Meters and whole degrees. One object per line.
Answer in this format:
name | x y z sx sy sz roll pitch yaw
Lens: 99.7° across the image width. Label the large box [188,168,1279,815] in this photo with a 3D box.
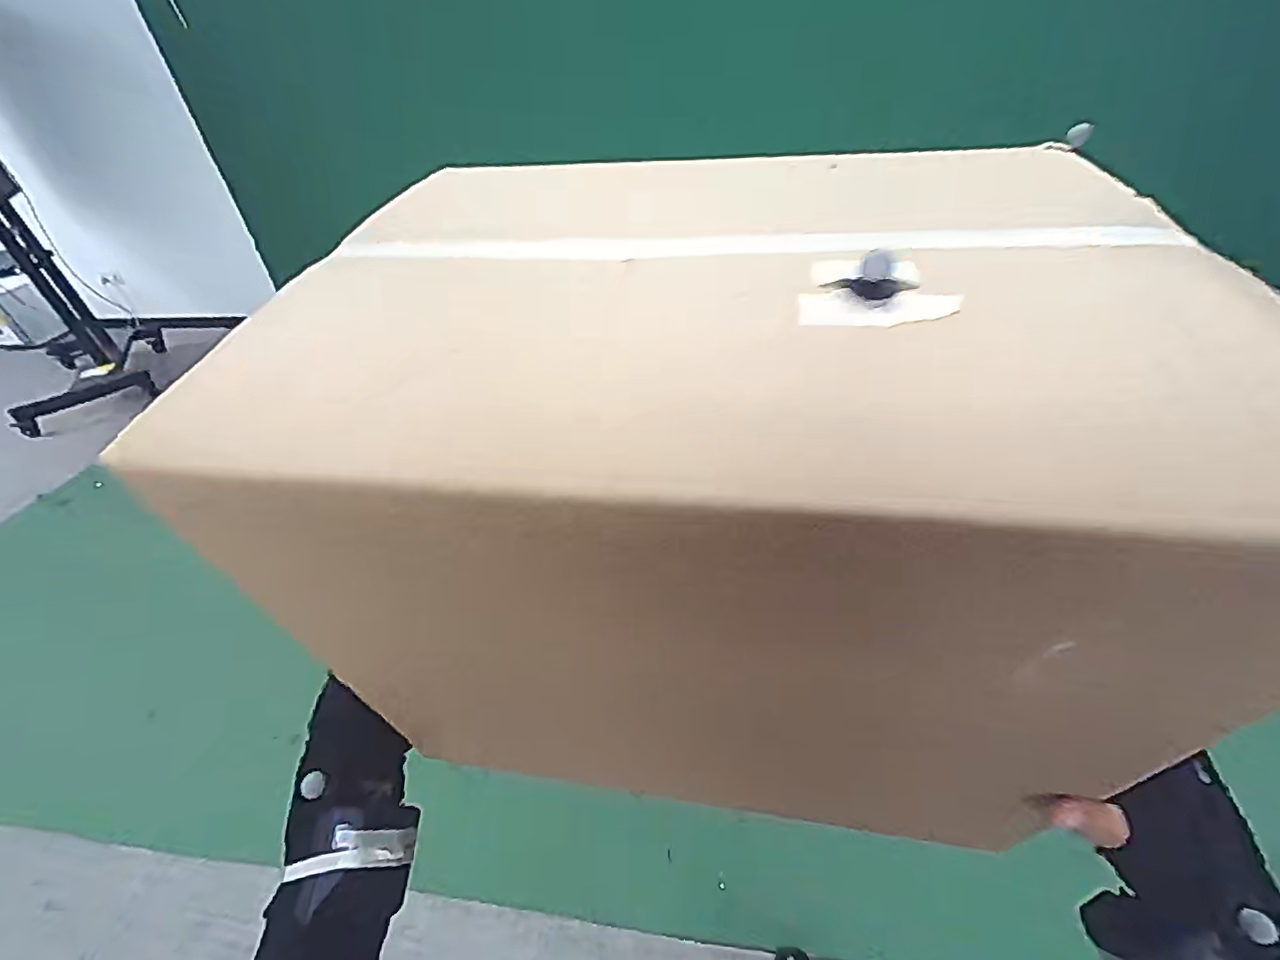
large box | 0.054 -0.002 0.381 0.408 0.320 0.320 4 47 9
